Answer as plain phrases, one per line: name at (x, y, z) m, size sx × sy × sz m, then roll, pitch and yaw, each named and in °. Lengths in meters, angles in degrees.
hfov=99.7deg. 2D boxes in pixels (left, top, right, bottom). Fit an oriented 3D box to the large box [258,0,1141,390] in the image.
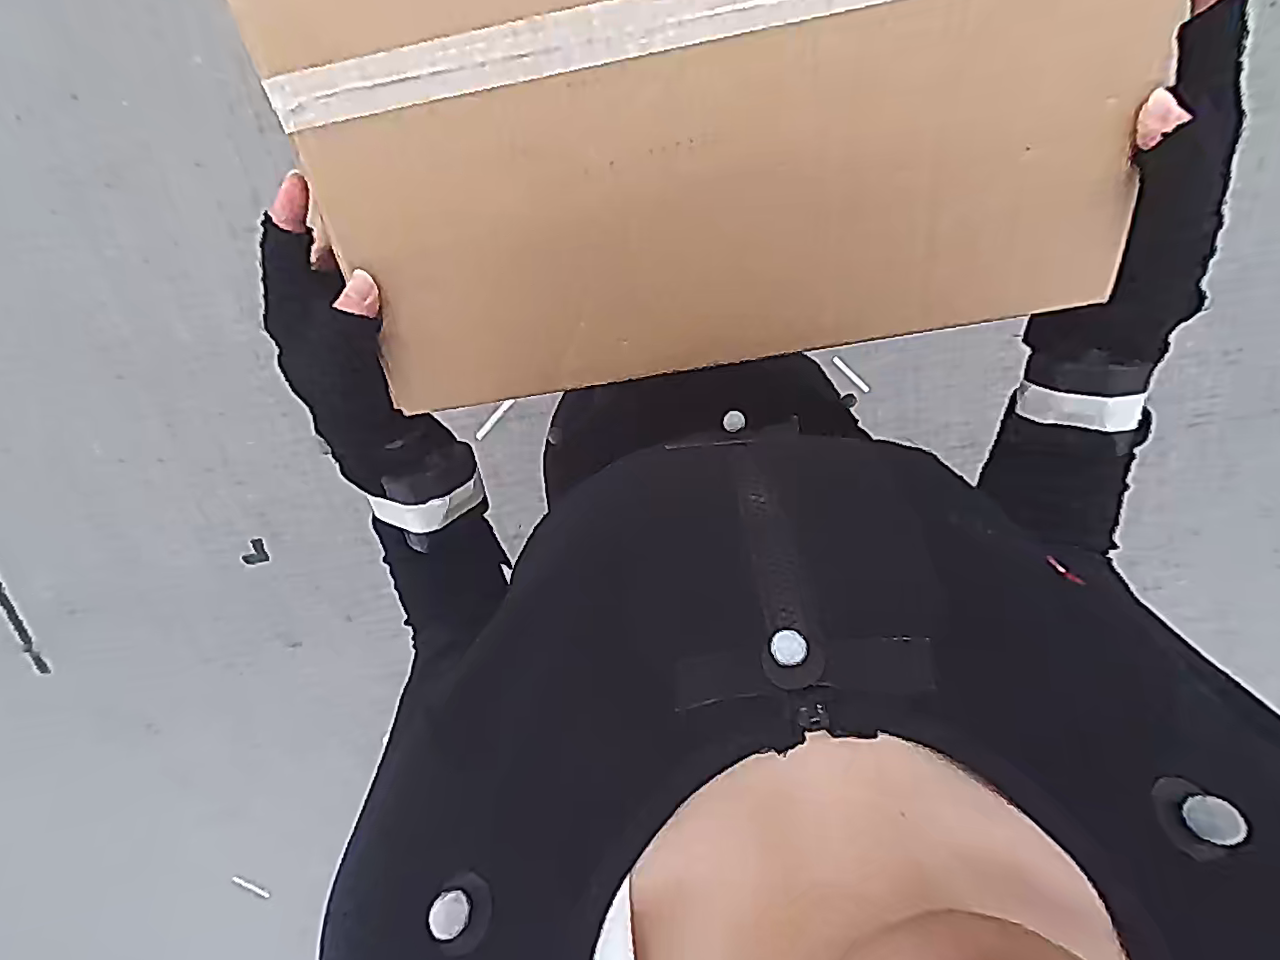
large box at (0.025, -0.286, 0.379) m, size 0.408 × 0.320 × 0.320 m, roll -9°, pitch 118°, yaw 4°
